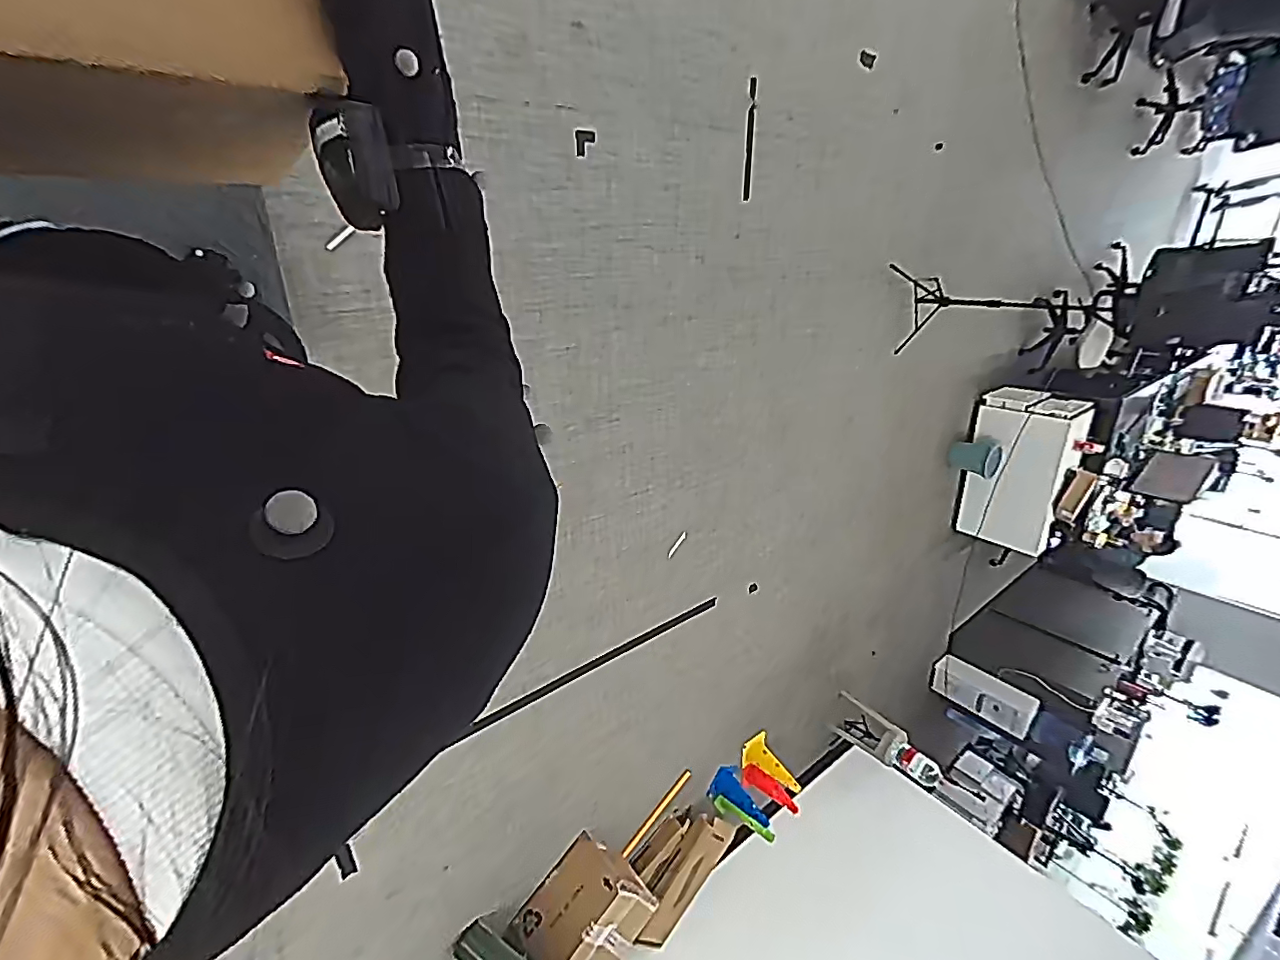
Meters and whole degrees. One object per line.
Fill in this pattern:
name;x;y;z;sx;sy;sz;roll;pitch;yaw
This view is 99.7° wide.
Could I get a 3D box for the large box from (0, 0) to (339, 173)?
large box;-0.445;-0.364;0.280;0.408;0.320;0.320;-20;117;-35
